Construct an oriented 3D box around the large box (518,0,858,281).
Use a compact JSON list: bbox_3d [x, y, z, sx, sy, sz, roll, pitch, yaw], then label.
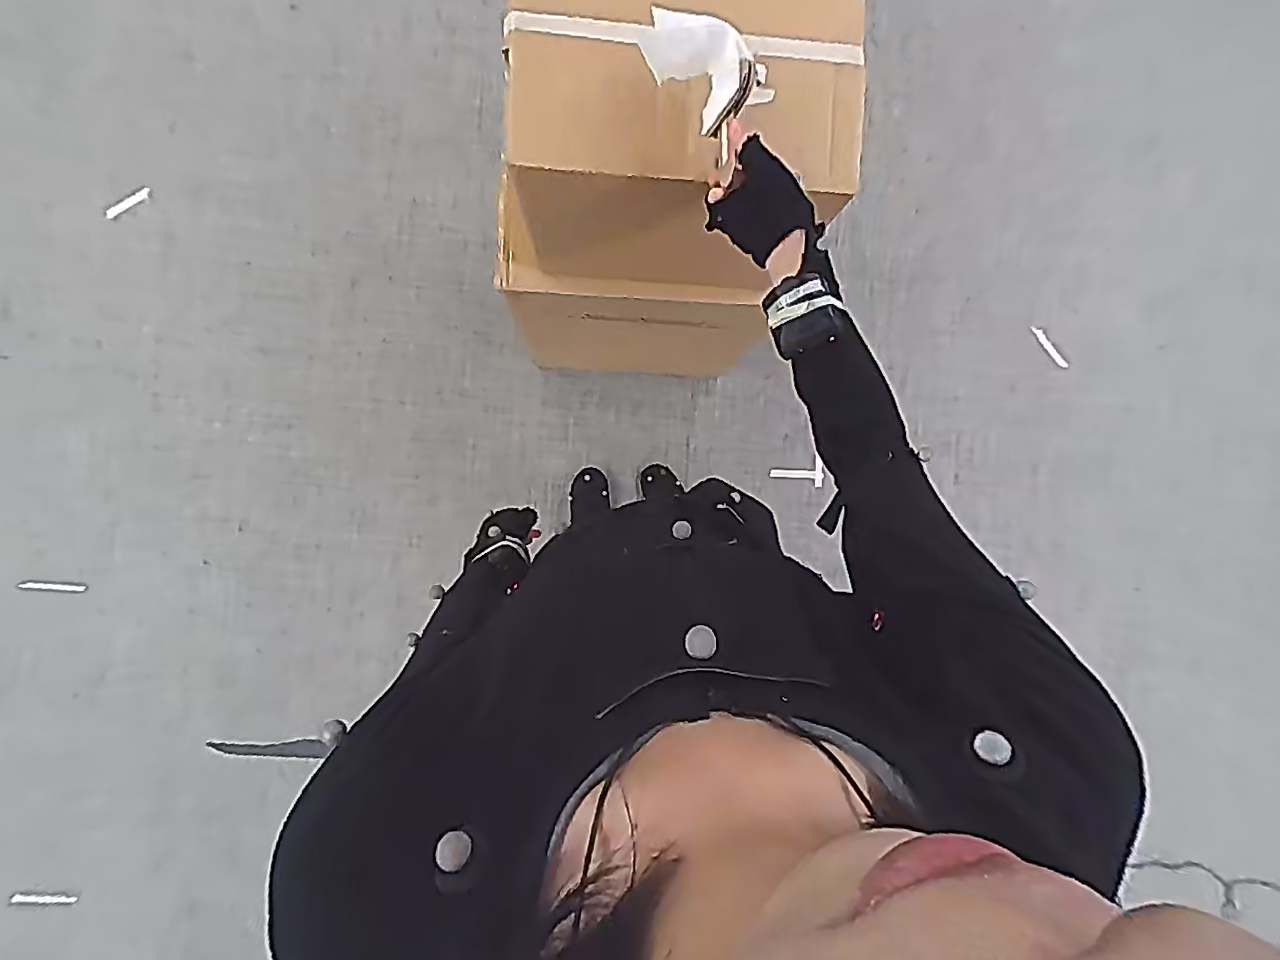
[{"bbox_3d":[0.046,-0.502,0.777,0.408,0.320,0.320,2,90,-6],"label":"large box"}]
